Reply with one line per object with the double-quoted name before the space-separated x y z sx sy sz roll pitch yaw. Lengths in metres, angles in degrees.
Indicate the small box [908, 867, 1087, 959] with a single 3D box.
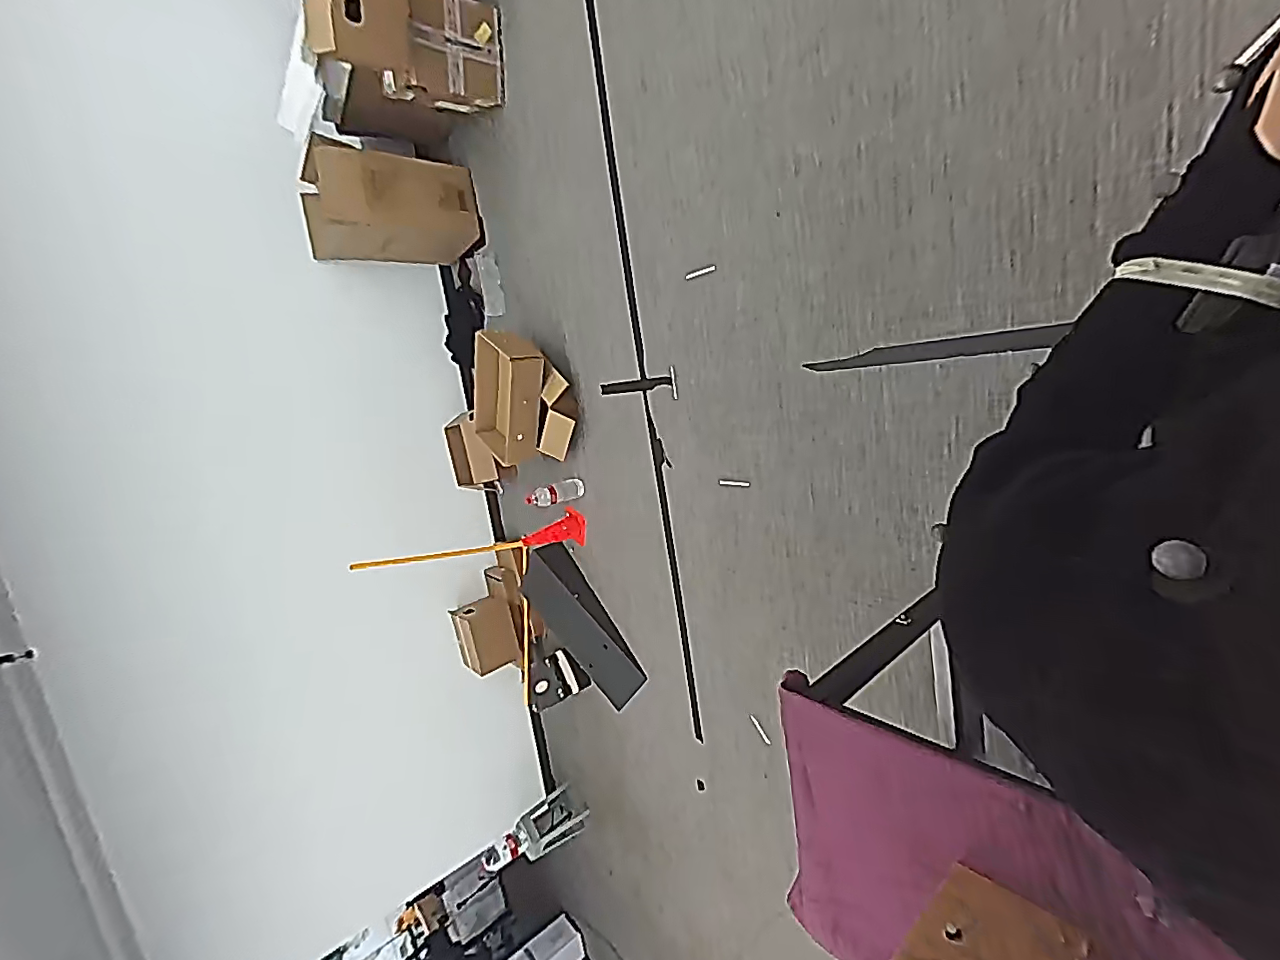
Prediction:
"small box" 0.528 0.726 0.799 0.179 0.176 0.168 3 106 52
